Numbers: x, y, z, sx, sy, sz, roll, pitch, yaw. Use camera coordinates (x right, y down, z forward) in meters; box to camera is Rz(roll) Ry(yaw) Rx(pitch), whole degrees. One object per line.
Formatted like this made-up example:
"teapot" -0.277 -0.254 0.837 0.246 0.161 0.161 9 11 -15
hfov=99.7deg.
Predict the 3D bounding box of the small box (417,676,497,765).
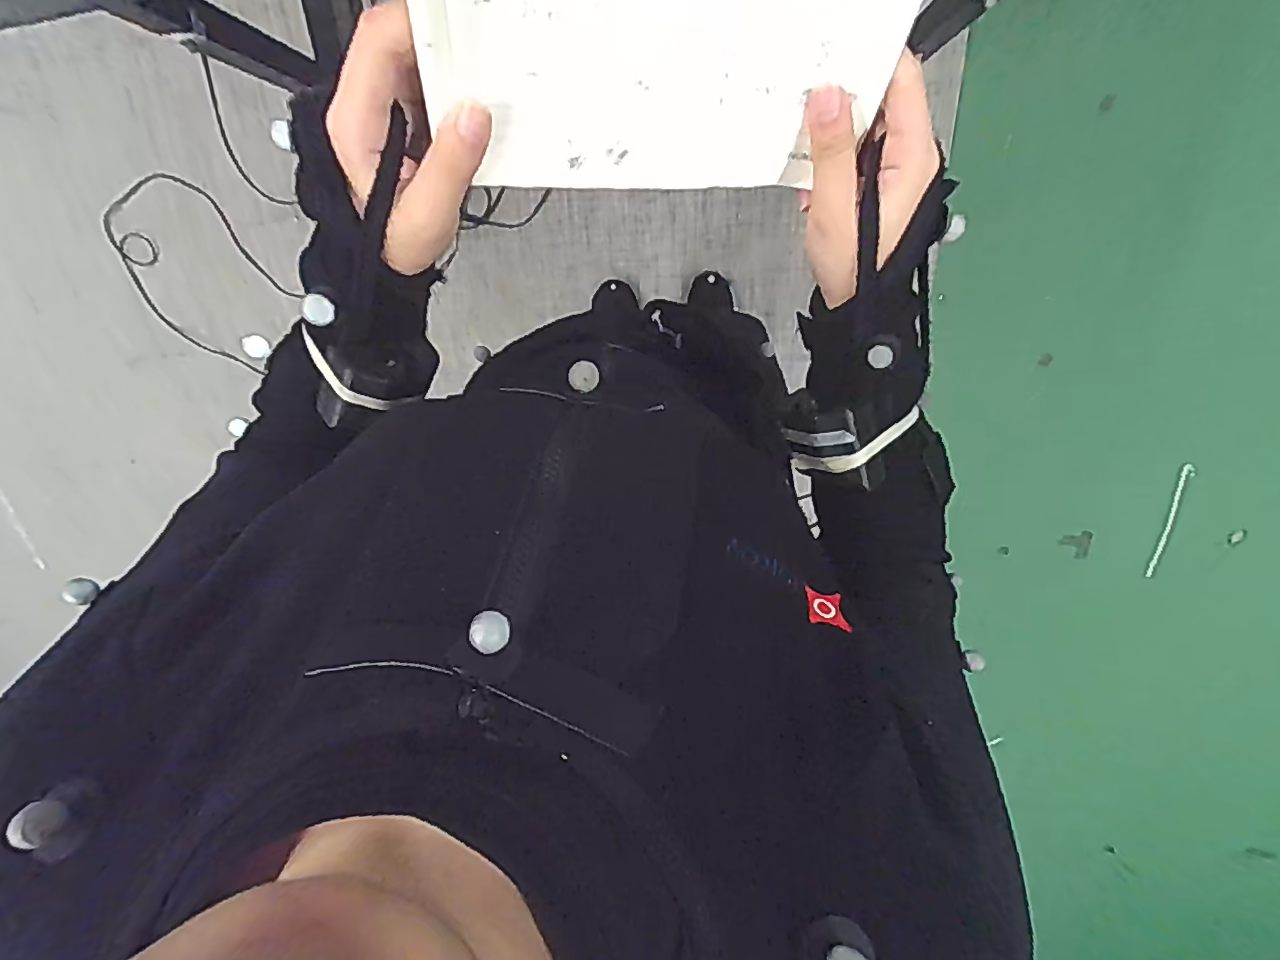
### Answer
"small box" -0.560 0.732 1.662 0.179 0.176 0.168 14 113 -3
